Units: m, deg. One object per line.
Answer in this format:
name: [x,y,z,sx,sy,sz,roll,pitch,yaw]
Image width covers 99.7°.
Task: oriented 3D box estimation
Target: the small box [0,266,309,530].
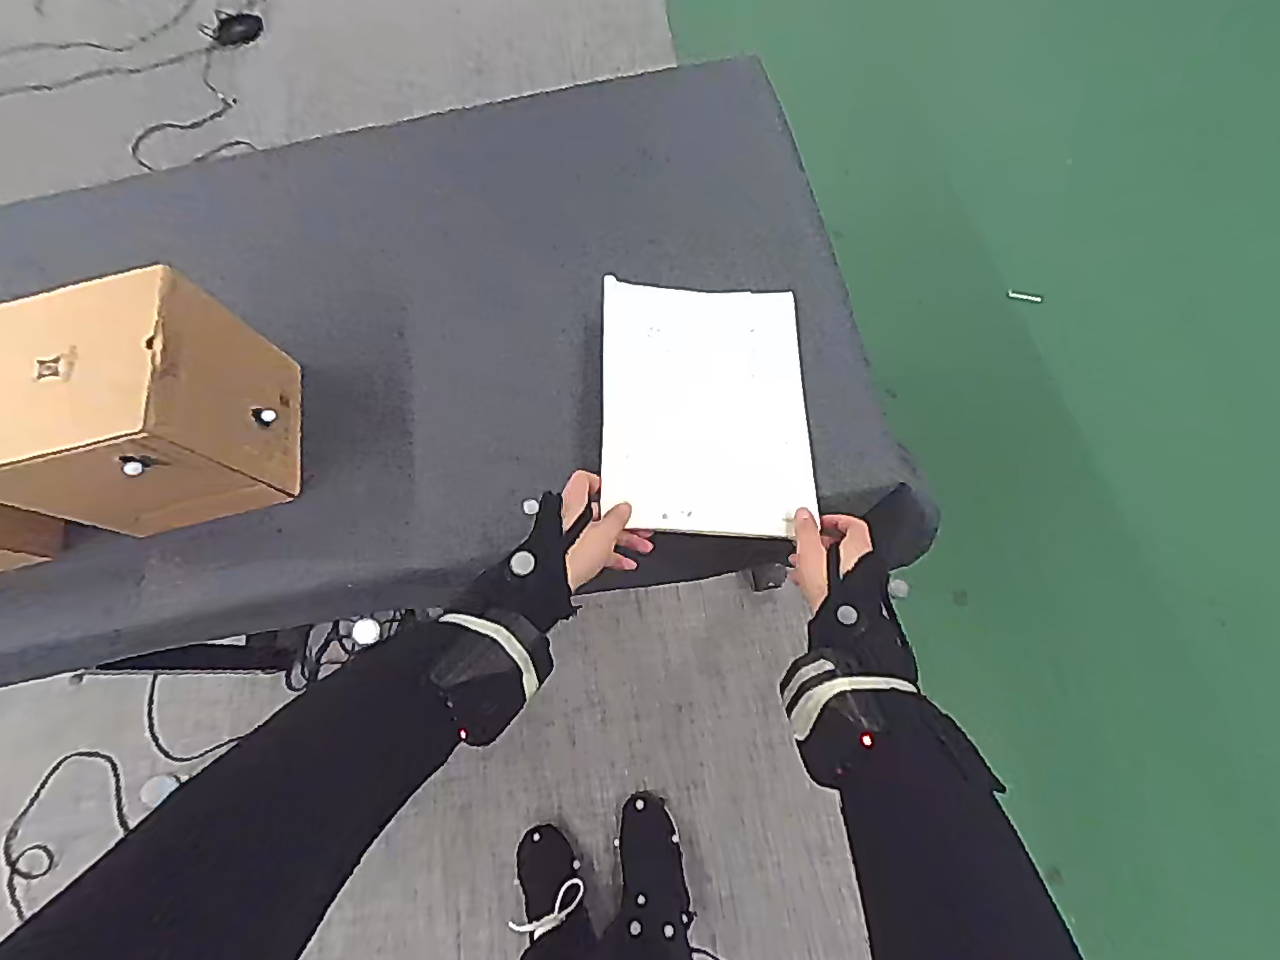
small box: [-0.456,-0.064,0.515,0.179,0.176,0.168,-14,69,1]
